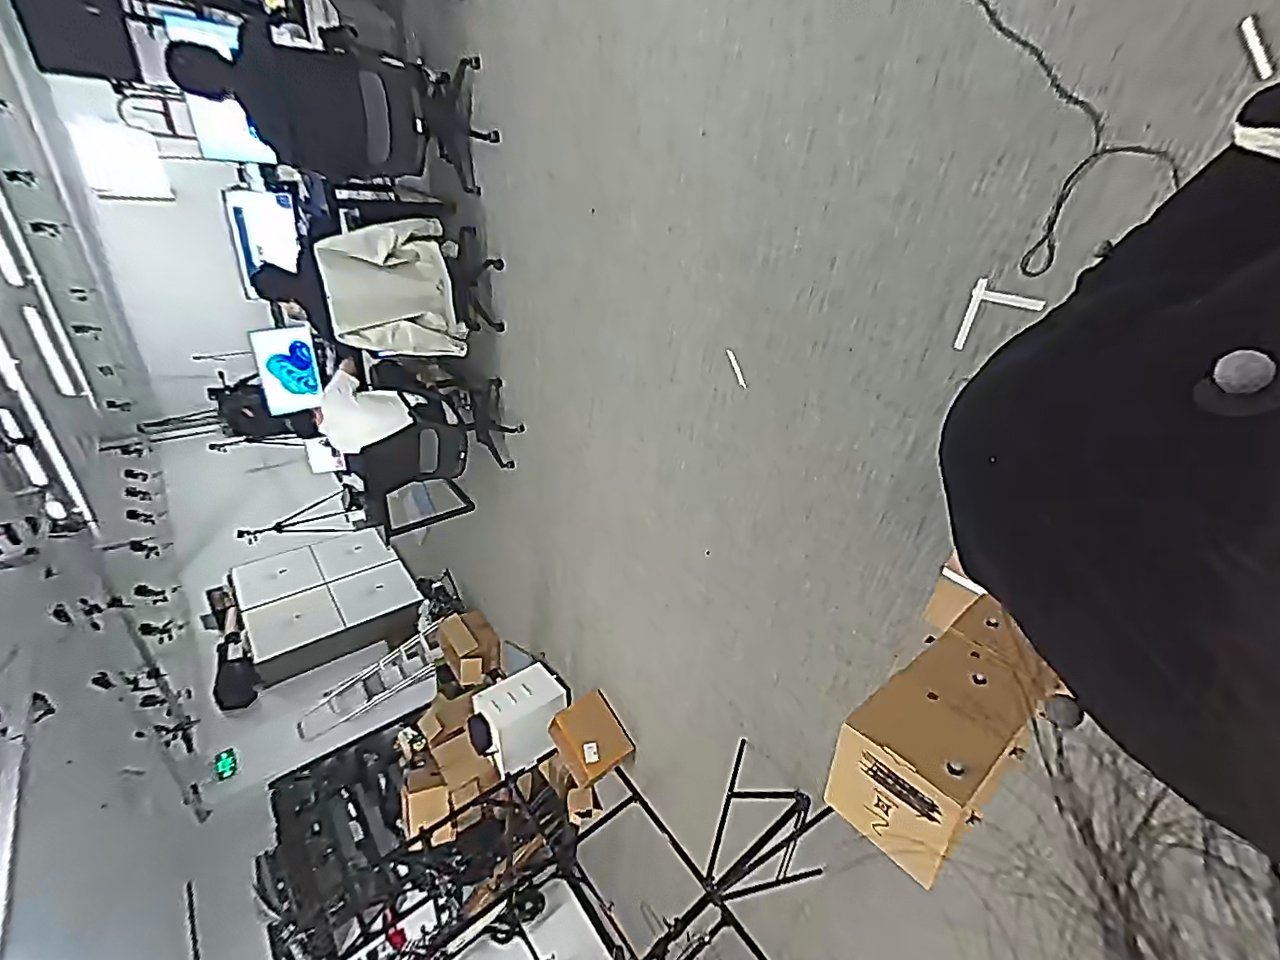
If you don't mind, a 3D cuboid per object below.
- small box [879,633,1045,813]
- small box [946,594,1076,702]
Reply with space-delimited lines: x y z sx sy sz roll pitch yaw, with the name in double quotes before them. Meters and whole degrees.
"small box" 0.532 0.387 0.894 0.168 0.176 0.179 30 127 45
"small box" 0.657 0.339 0.991 0.168 0.176 0.179 33 131 42
